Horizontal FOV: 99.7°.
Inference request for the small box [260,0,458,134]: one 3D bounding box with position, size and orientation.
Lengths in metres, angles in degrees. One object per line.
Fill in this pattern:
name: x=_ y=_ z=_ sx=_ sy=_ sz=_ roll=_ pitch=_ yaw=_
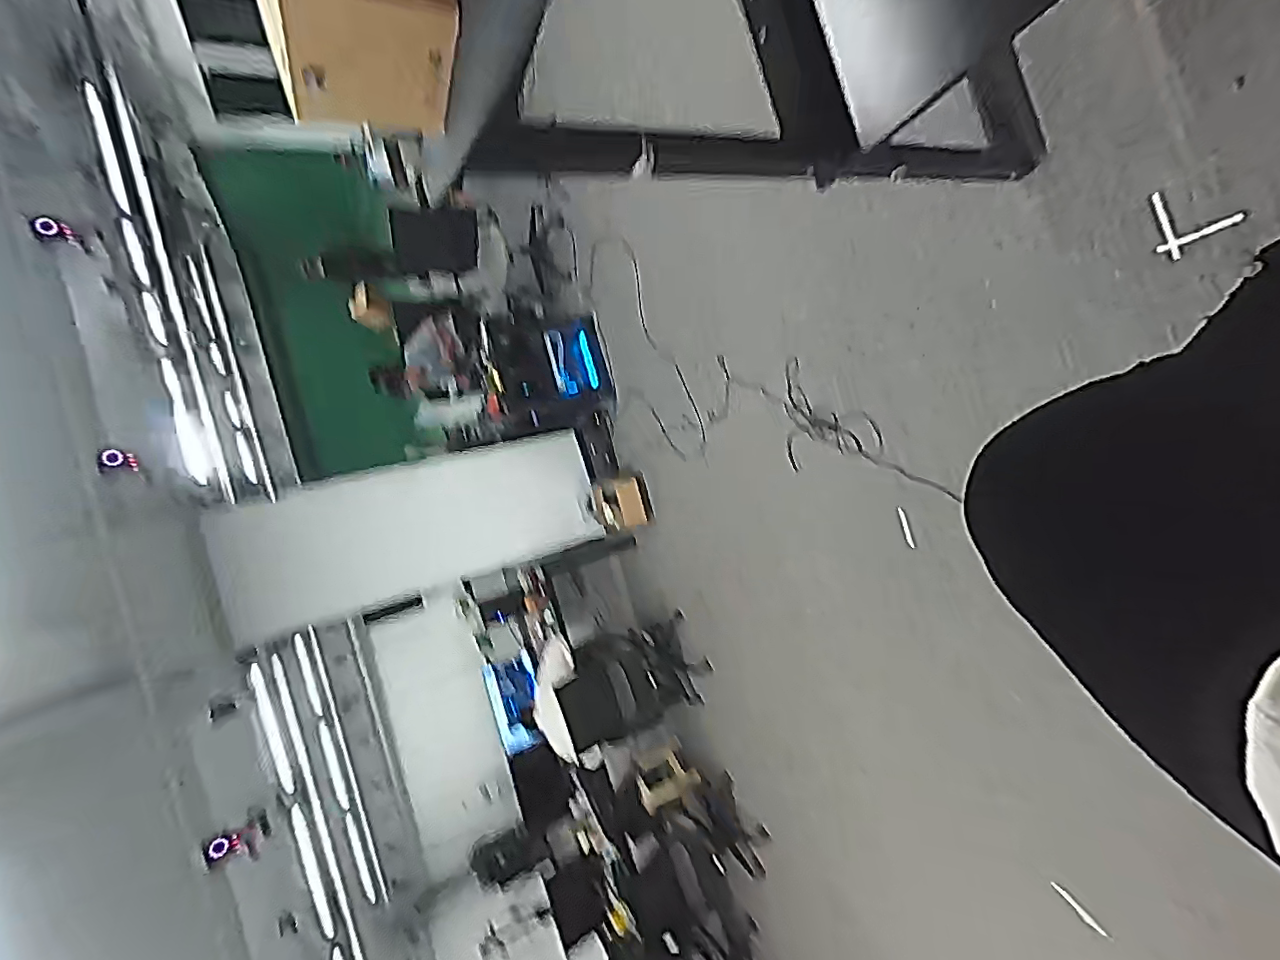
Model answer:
small box: x=-0.314 y=-0.516 z=0.595 sx=0.168 sy=0.176 sz=0.179 roll=-24 pitch=82 yaw=63
